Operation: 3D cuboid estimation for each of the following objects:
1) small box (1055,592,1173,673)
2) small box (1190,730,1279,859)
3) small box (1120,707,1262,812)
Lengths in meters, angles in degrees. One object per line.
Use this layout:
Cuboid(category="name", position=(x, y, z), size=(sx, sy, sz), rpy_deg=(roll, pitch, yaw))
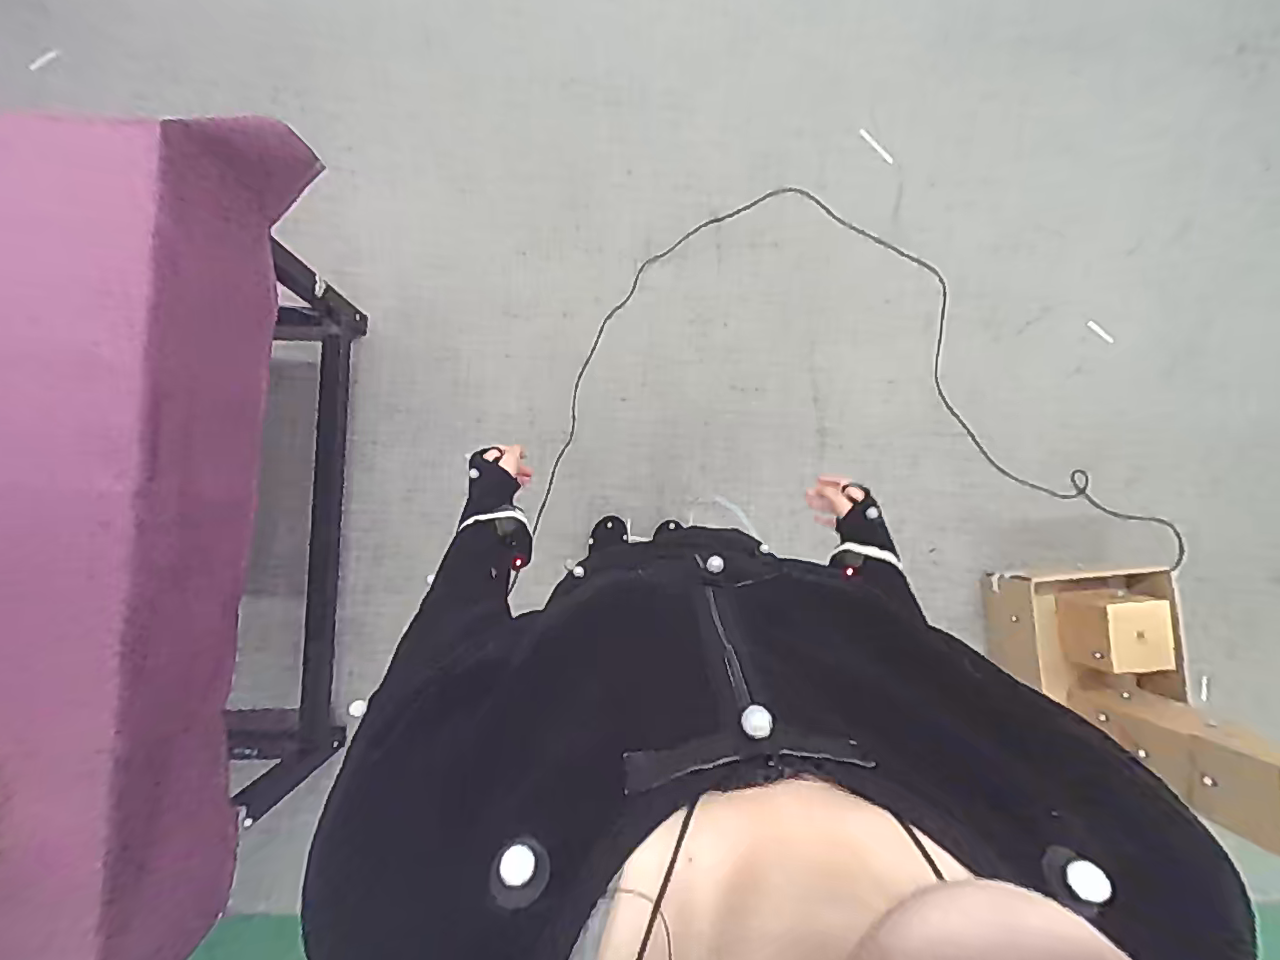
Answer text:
Cuboid(category="small box", position=(1.252, 0.397, 1.440), size=(0.168, 0.176, 0.179), rpy_deg=(-4, 88, -2))
Cuboid(category="small box", position=(1.277, 0.632, 1.097), size=(0.168, 0.176, 0.179), rpy_deg=(2, 86, -3))
Cuboid(category="small box", position=(1.283, 0.643, 1.263), size=(0.179, 0.176, 0.168), rpy_deg=(-2, 86, -2))
